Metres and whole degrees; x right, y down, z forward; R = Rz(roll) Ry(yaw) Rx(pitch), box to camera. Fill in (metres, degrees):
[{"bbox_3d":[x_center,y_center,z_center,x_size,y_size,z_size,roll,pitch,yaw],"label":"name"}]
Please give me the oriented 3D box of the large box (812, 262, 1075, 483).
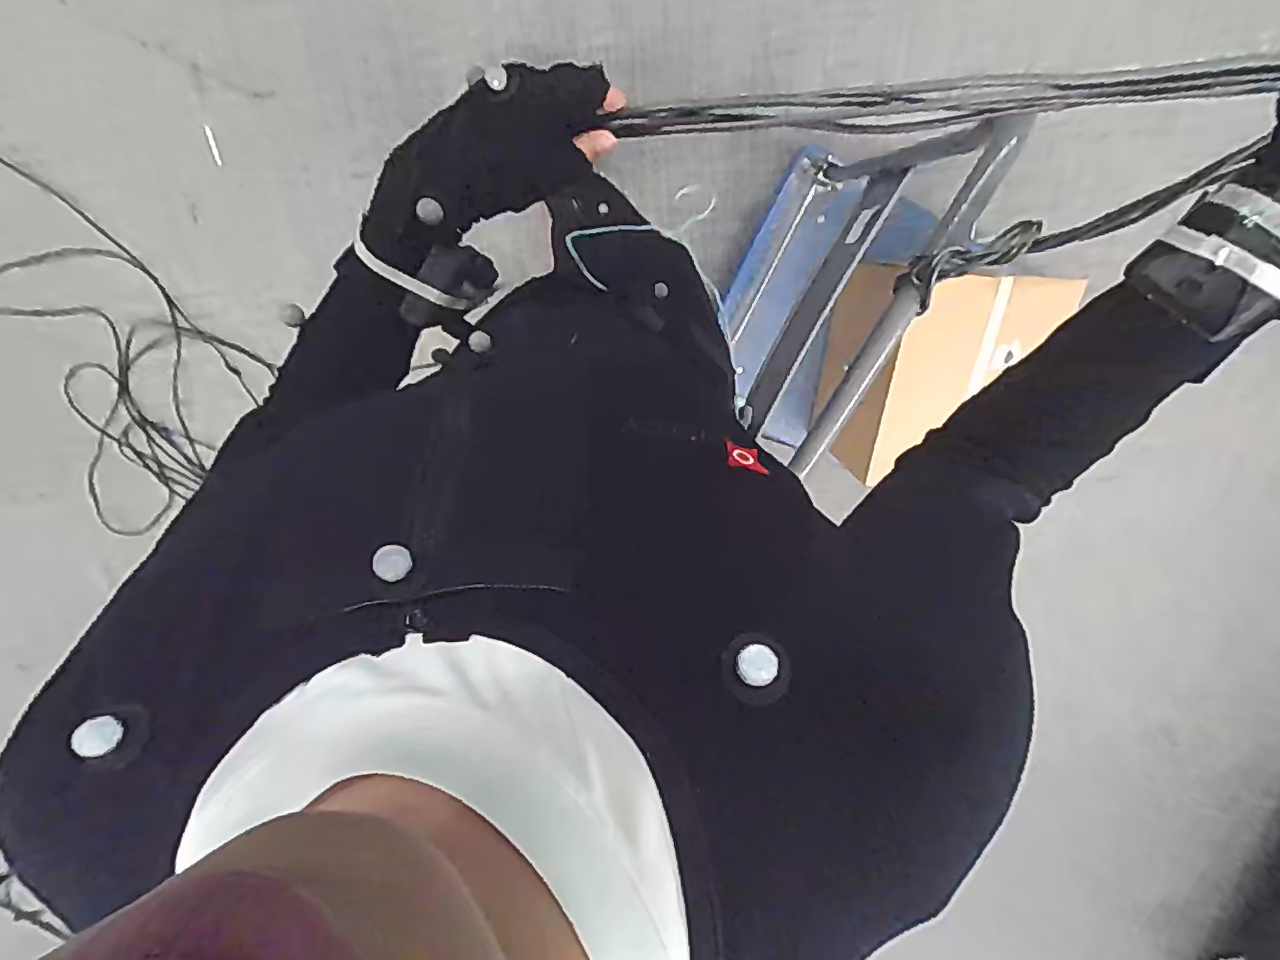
[{"bbox_3d":[0.596,-0.236,1.152,0.320,0.320,0.408,1,114,-6],"label":"large box"}]
